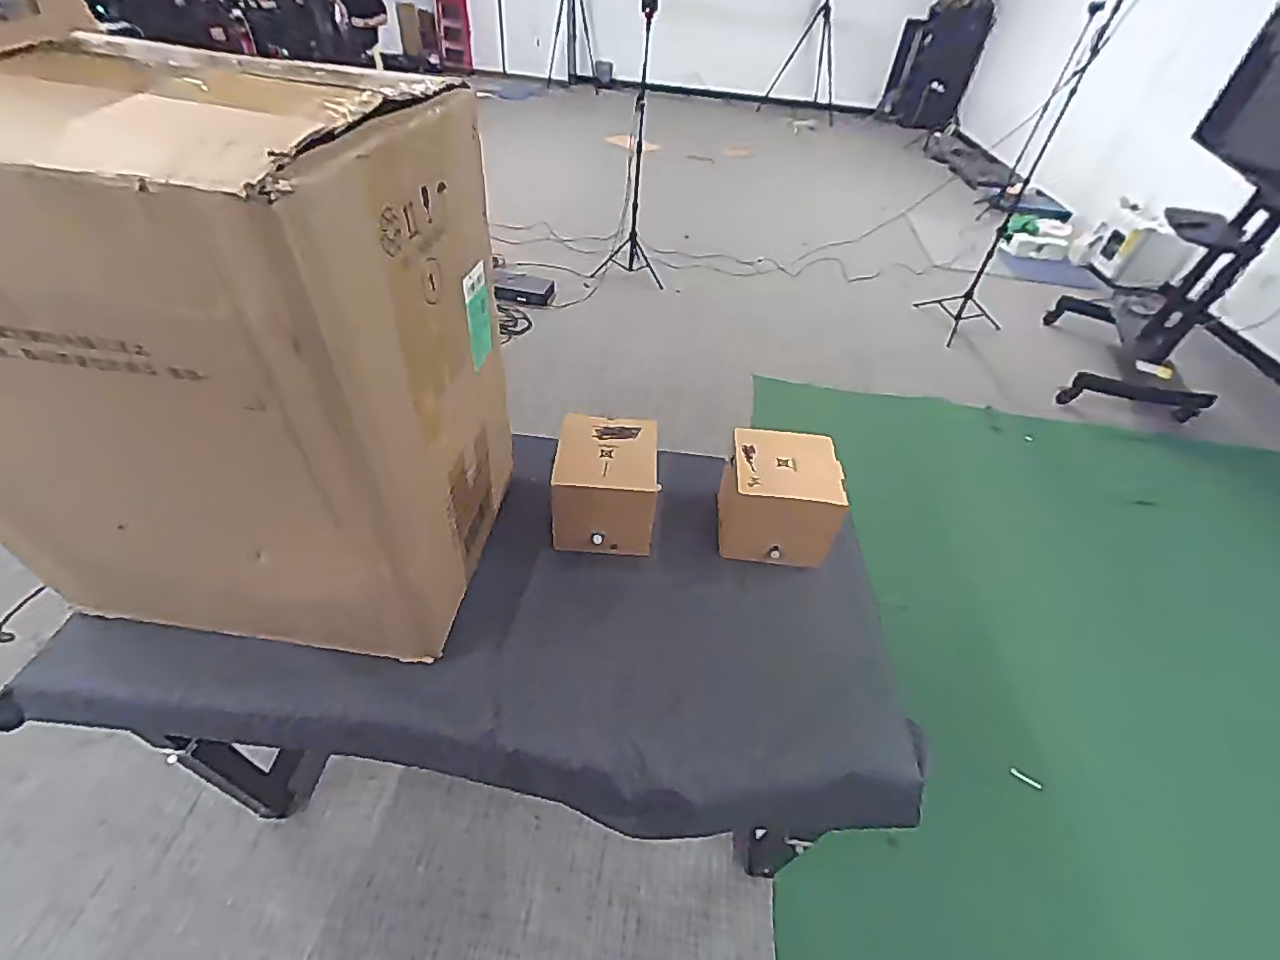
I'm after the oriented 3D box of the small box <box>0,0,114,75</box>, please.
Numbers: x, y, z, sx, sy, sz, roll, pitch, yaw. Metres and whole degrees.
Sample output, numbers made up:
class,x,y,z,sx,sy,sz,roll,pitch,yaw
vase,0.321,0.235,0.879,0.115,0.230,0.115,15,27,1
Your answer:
class,x,y,z,sx,sy,sz,roll,pitch,yaw
small box,-0.594,-0.434,0.418,0.179,0.176,0.168,5,50,-3

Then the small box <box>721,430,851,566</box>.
class,x,y,z,sx,sy,sz,roll,pitch,yaw
small box,0.247,0.035,0.960,0.179,0.176,0.168,7,44,0
